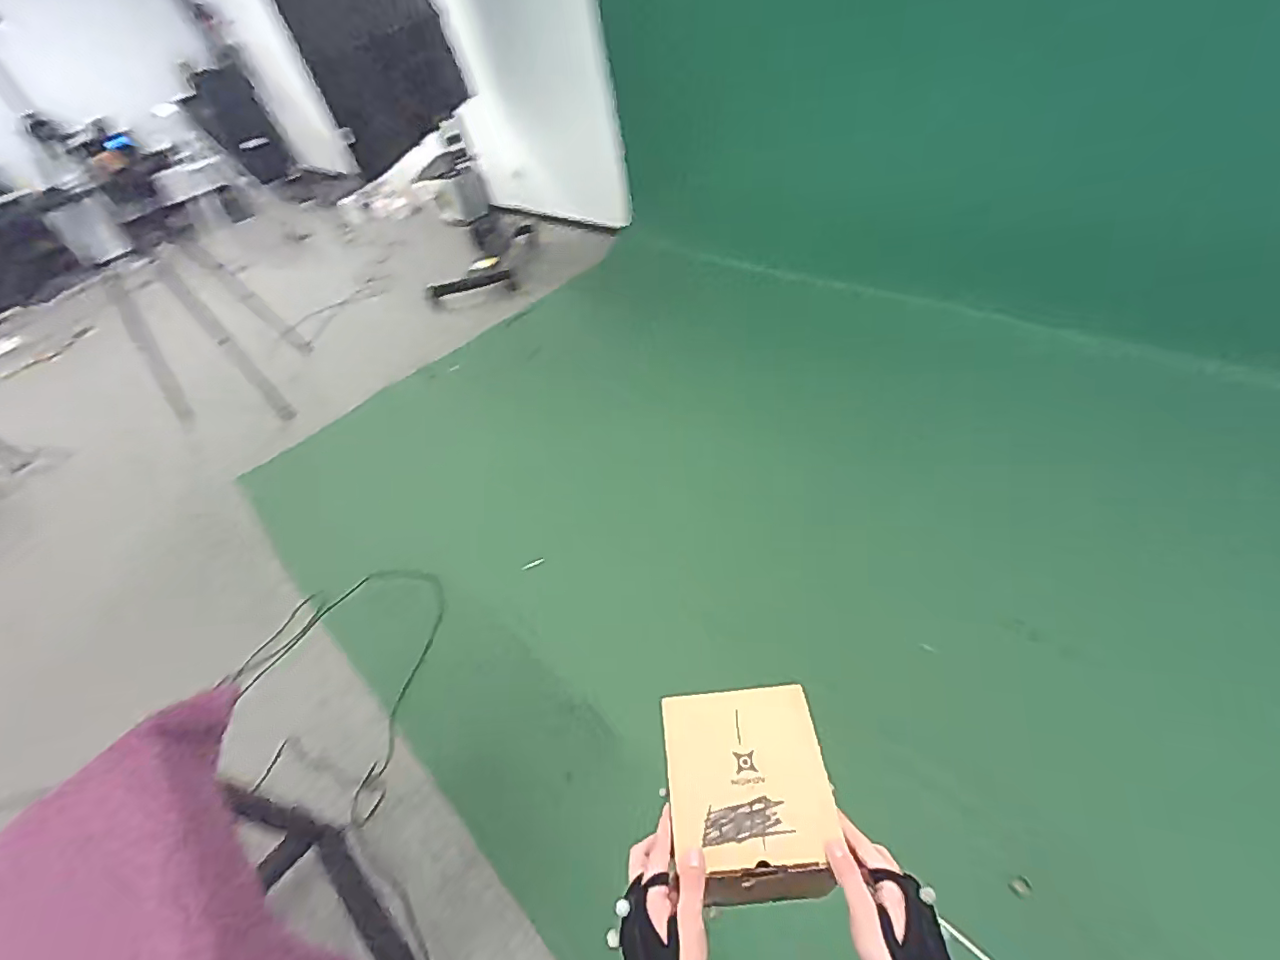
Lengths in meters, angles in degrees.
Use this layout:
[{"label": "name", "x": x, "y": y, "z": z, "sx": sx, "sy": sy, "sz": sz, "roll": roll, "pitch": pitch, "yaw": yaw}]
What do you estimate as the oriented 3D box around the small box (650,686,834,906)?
[{"label": "small box", "x": 0.105, "y": 0.365, "z": 0.620, "sx": 0.168, "sy": 0.176, "sz": 0.179, "roll": -6, "pitch": 42, "yaw": 1}]
